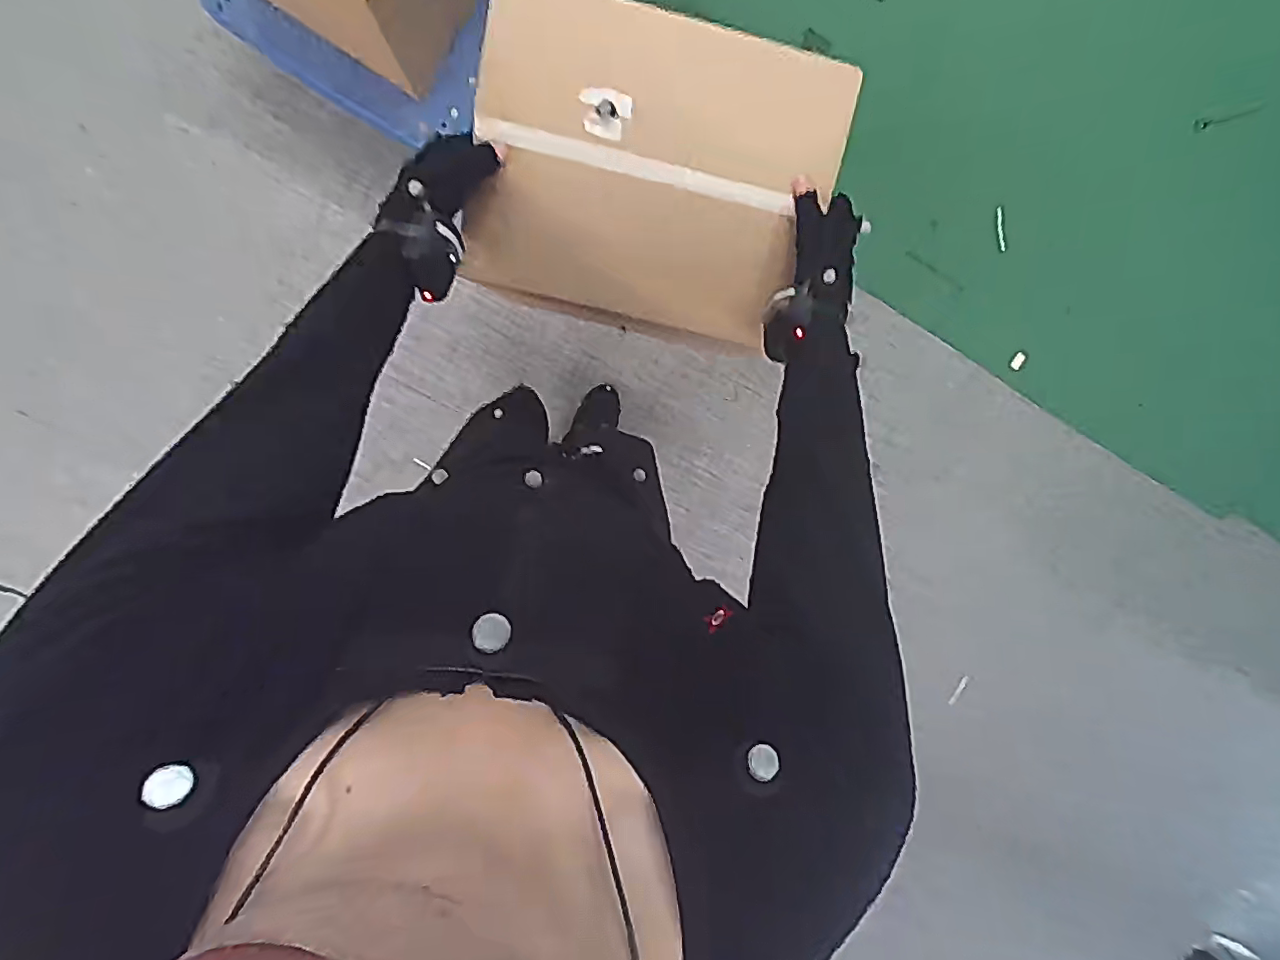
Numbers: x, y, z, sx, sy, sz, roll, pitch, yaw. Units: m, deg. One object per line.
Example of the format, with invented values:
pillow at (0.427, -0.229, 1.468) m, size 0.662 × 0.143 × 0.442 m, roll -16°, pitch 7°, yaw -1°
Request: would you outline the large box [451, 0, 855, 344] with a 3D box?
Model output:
large box at (0.006, -0.376, 0.738) m, size 0.408 × 0.320 × 0.320 m, roll 11°, pitch 102°, yaw -4°
